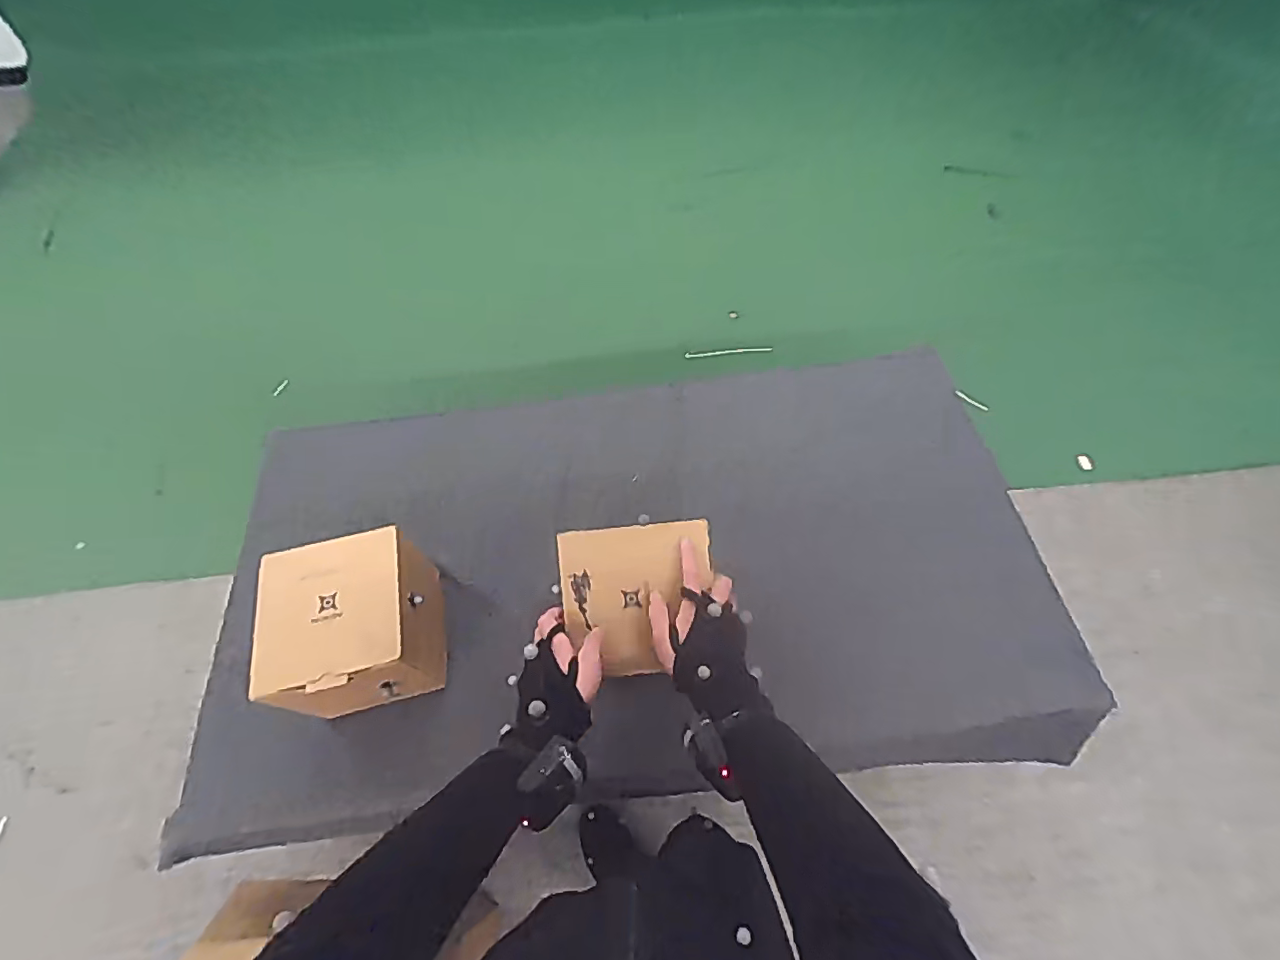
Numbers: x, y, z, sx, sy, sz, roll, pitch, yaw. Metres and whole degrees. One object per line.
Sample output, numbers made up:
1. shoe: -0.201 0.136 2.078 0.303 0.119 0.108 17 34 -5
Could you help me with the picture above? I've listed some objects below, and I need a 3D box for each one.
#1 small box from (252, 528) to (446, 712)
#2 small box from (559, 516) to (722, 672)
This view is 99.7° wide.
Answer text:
1. small box: -0.365 0.191 0.708 0.168 0.176 0.179 -14 60 -7
2. small box: -0.003 0.137 0.698 0.179 0.176 0.168 -6 82 -2
